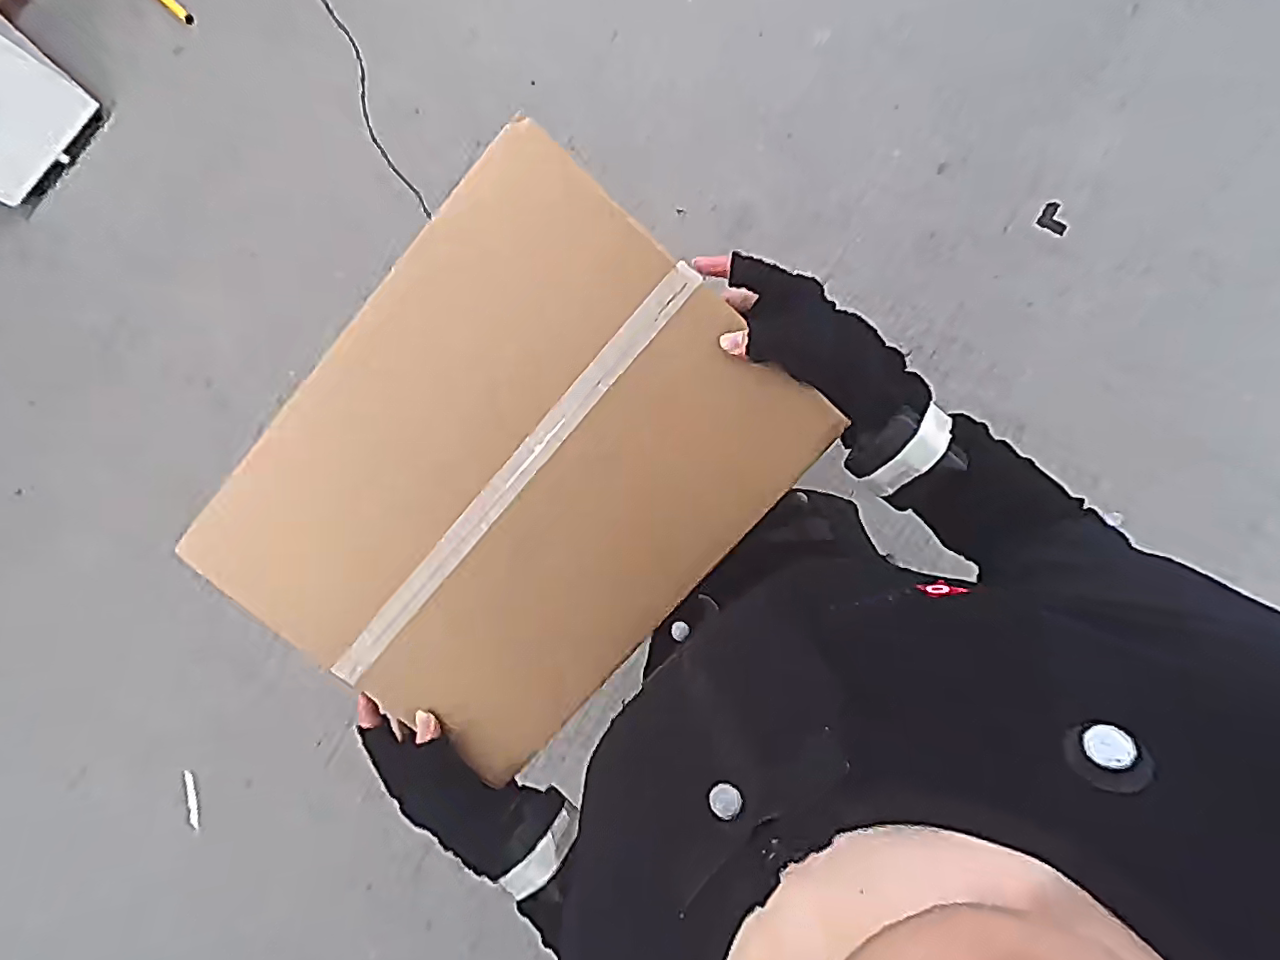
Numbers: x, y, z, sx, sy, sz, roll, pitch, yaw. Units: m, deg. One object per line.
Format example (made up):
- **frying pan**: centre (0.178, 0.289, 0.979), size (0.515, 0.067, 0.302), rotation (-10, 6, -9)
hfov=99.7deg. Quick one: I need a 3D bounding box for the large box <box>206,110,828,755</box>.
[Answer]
- **large box**: centre (-0.100, -0.035, 0.558), size (0.320, 0.320, 0.408), rotation (41, 98, -8)
